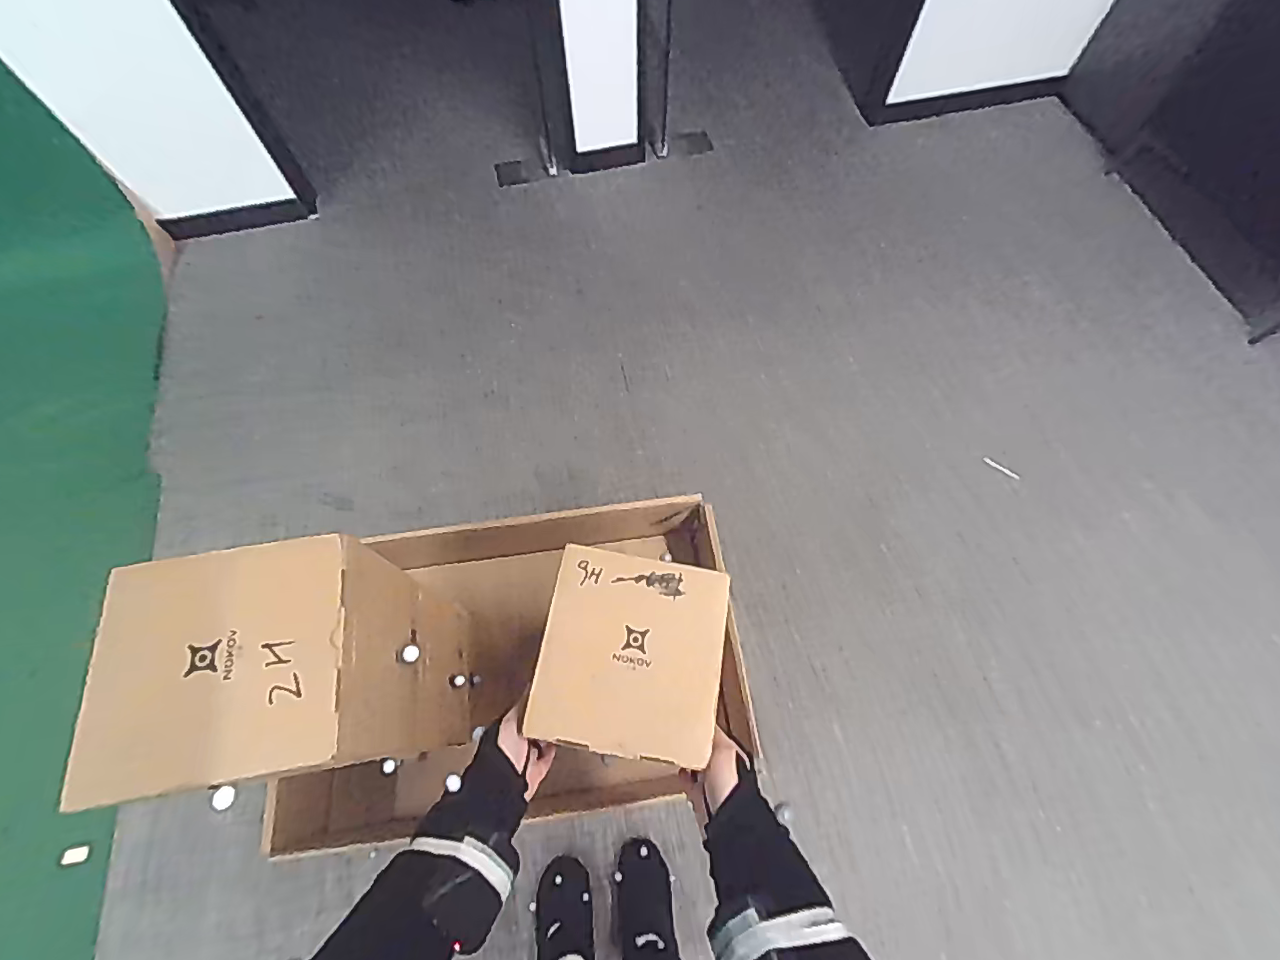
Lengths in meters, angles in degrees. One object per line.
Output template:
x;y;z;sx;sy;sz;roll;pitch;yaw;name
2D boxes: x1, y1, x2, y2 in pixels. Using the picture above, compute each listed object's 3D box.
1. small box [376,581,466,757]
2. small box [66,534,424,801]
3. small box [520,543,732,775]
-0.309;0.224;0.615;0.179;0.176;0.168;-7;67;-6;small box
-0.303;0.160;0.463;0.179;0.176;0.168;-8;67;-5;small box
-0.012;0.184;0.565;0.168;0.176;0.179;12;68;0;small box
